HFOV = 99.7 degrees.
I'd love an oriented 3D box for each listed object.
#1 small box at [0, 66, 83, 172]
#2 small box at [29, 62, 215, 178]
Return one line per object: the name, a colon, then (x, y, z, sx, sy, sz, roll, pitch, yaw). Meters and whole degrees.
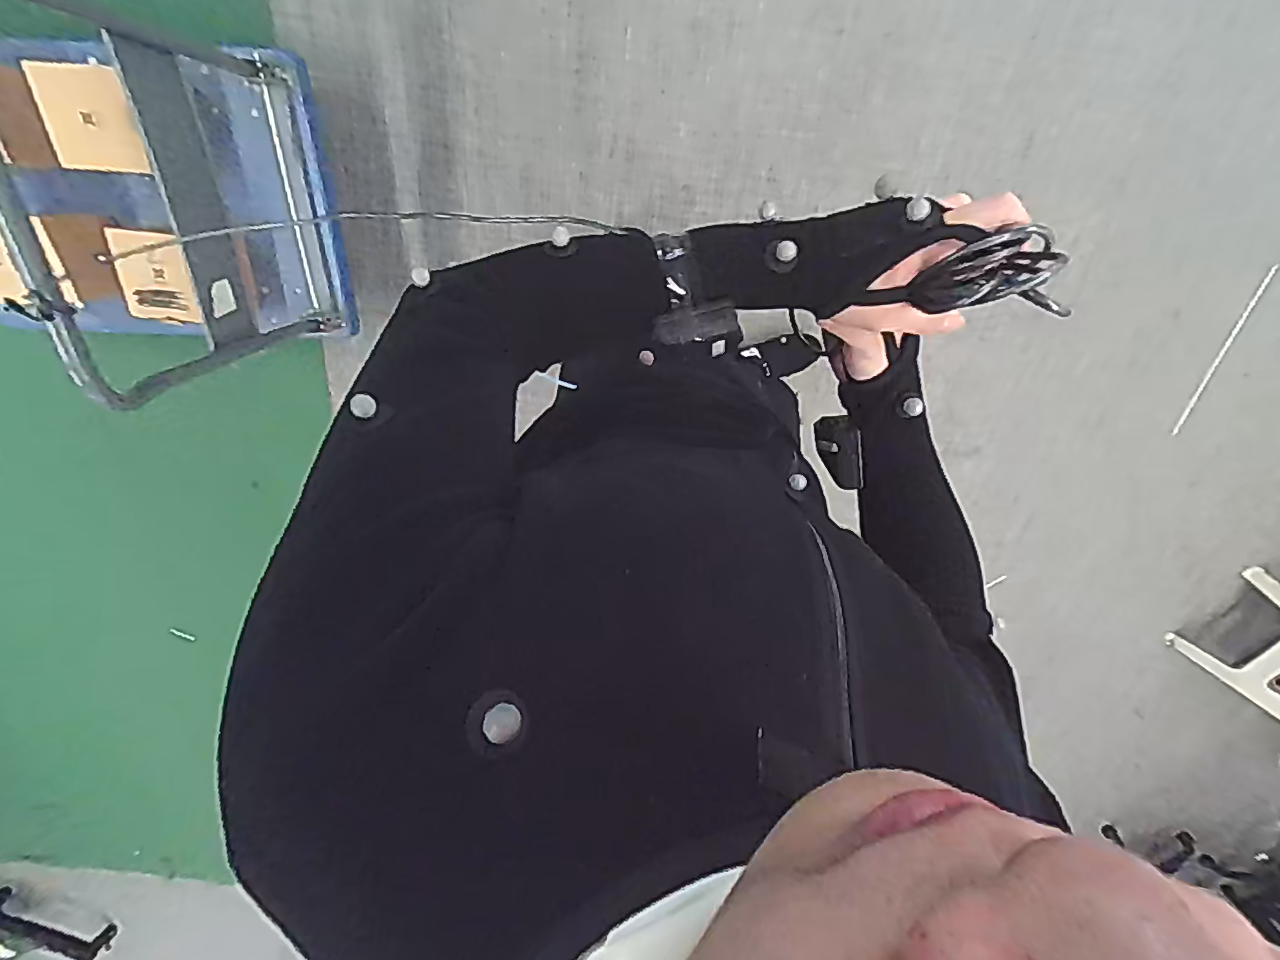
small box: (-1.266, -0.703, 1.058, 0.179, 0.176, 0.168, -2, 118, 1)
small box: (-0.996, -0.694, 1.060, 0.179, 0.176, 0.168, 3, 117, -1)
